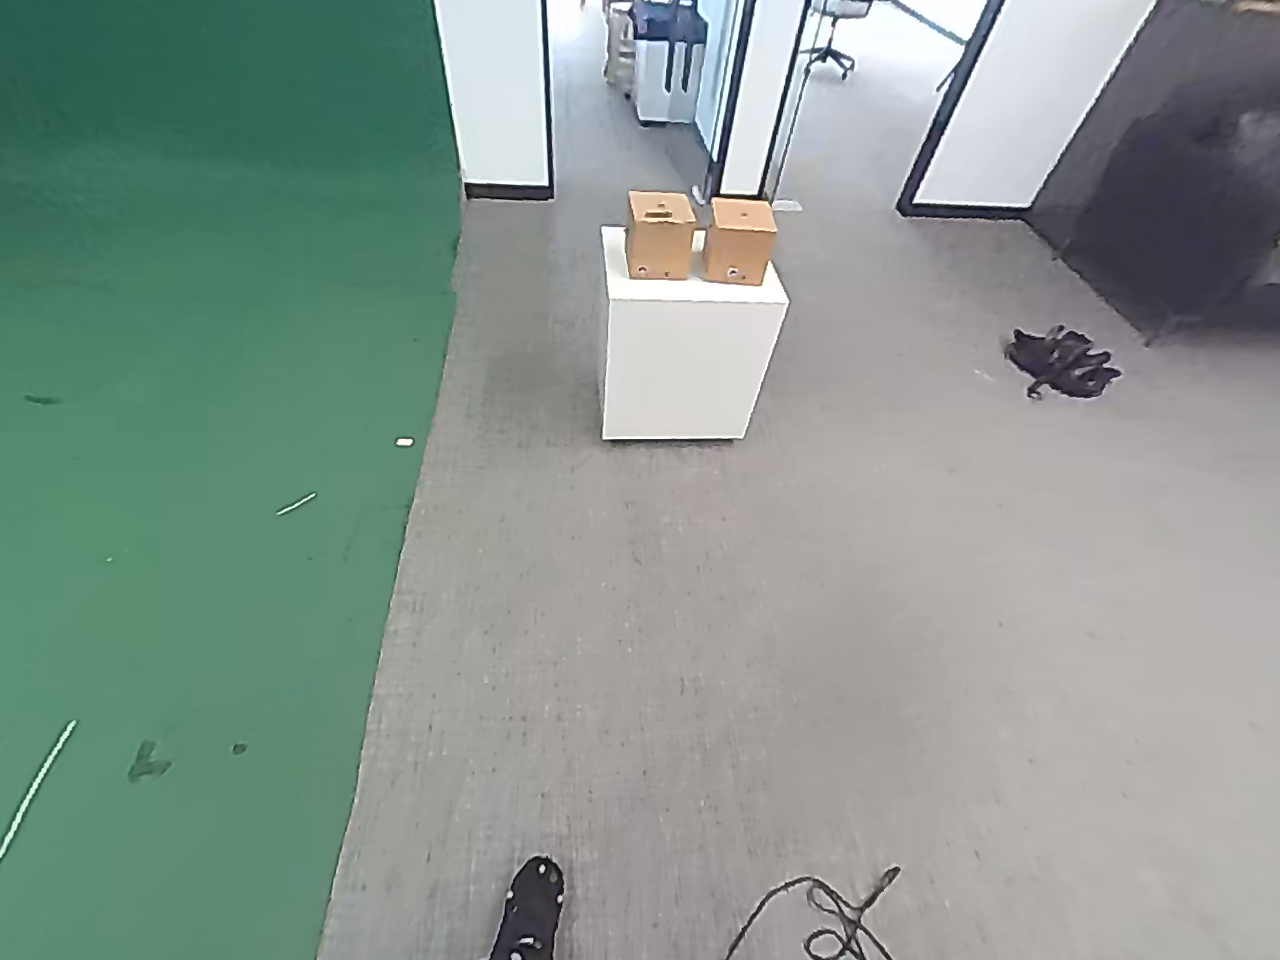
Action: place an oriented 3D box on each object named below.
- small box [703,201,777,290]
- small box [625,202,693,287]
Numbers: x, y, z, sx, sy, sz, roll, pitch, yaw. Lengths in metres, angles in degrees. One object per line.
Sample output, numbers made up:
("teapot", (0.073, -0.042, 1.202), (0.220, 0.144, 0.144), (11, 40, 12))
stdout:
("small box", (0.277, -0.669, 1.546), (0.168, 0.176, 0.179), (2, 52, -3))
("small box", (0.048, -0.668, 1.539), (0.168, 0.176, 0.179), (-2, 50, -8))
